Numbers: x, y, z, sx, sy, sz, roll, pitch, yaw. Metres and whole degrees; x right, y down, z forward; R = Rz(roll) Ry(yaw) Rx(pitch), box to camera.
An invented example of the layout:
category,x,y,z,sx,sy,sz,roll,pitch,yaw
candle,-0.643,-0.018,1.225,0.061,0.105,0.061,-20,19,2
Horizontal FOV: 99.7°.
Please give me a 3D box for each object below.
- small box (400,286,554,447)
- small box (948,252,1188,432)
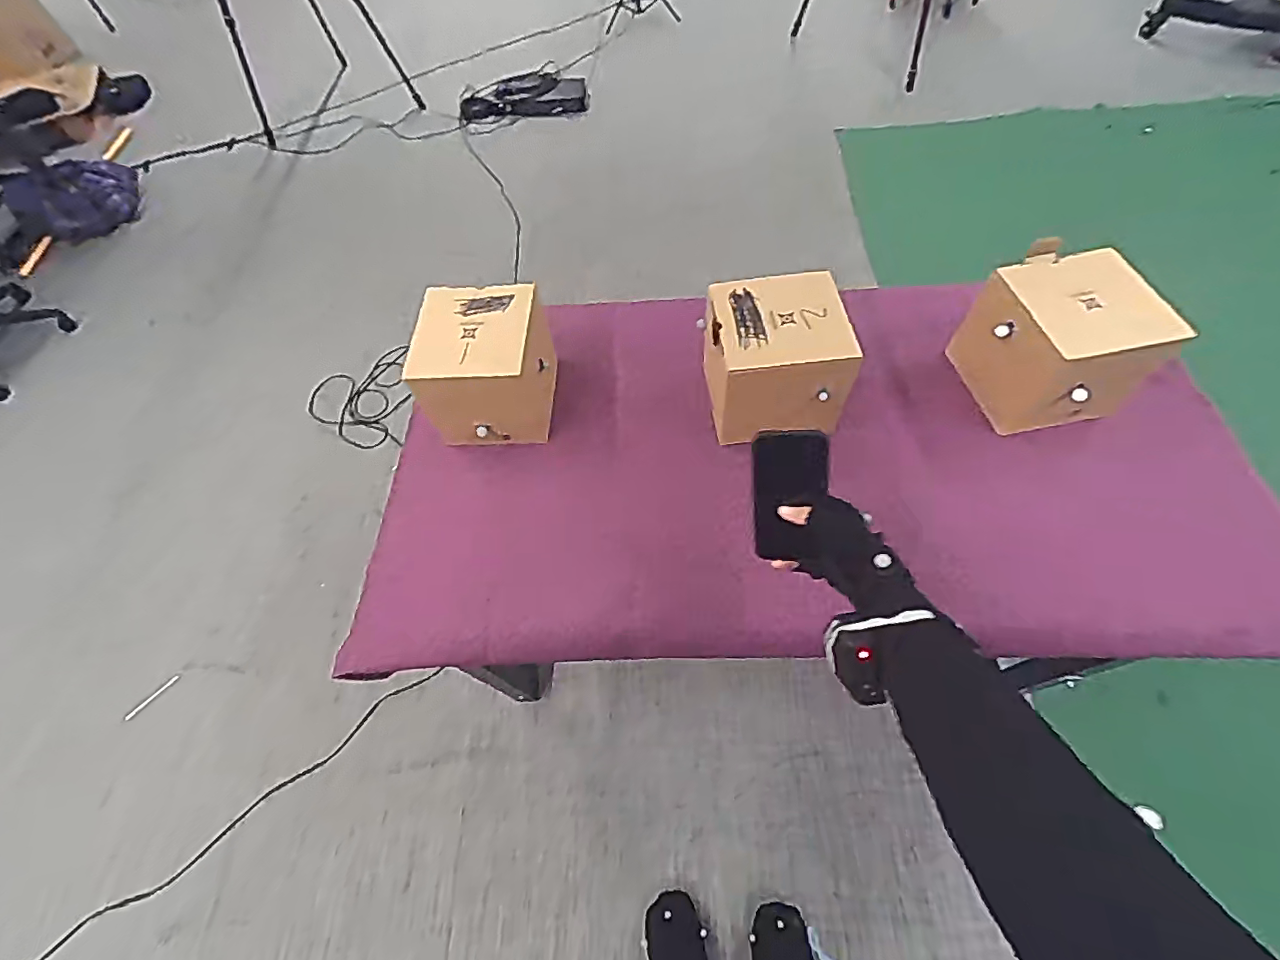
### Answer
category,x,y,z,sx,sy,sz,roll,pitch,yaw
small box,-0.231,-0.169,0.823,0.168,0.176,0.179,-1,61,4
small box,0.581,-0.185,0.766,0.168,0.176,0.179,-11,59,-1
